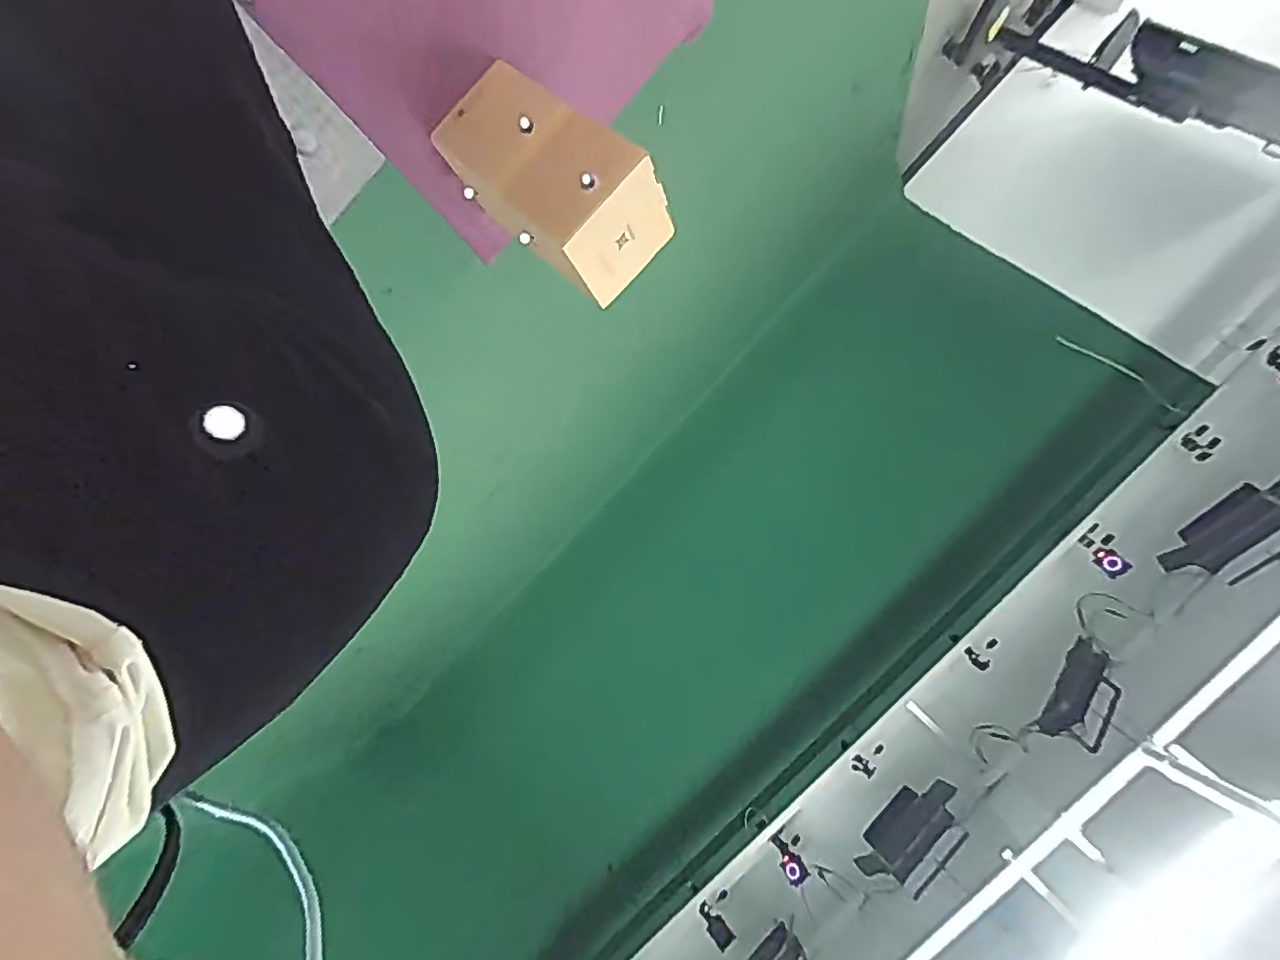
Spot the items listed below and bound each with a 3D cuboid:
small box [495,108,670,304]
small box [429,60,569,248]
[{"bbox_3d":[-0.085,-0.419,0.832,0.179,0.176,0.168,-47,159,1],"label":"small box"},{"bbox_3d":[-0.200,-0.524,0.883,0.168,0.176,0.179,-47,161,1],"label":"small box"}]
